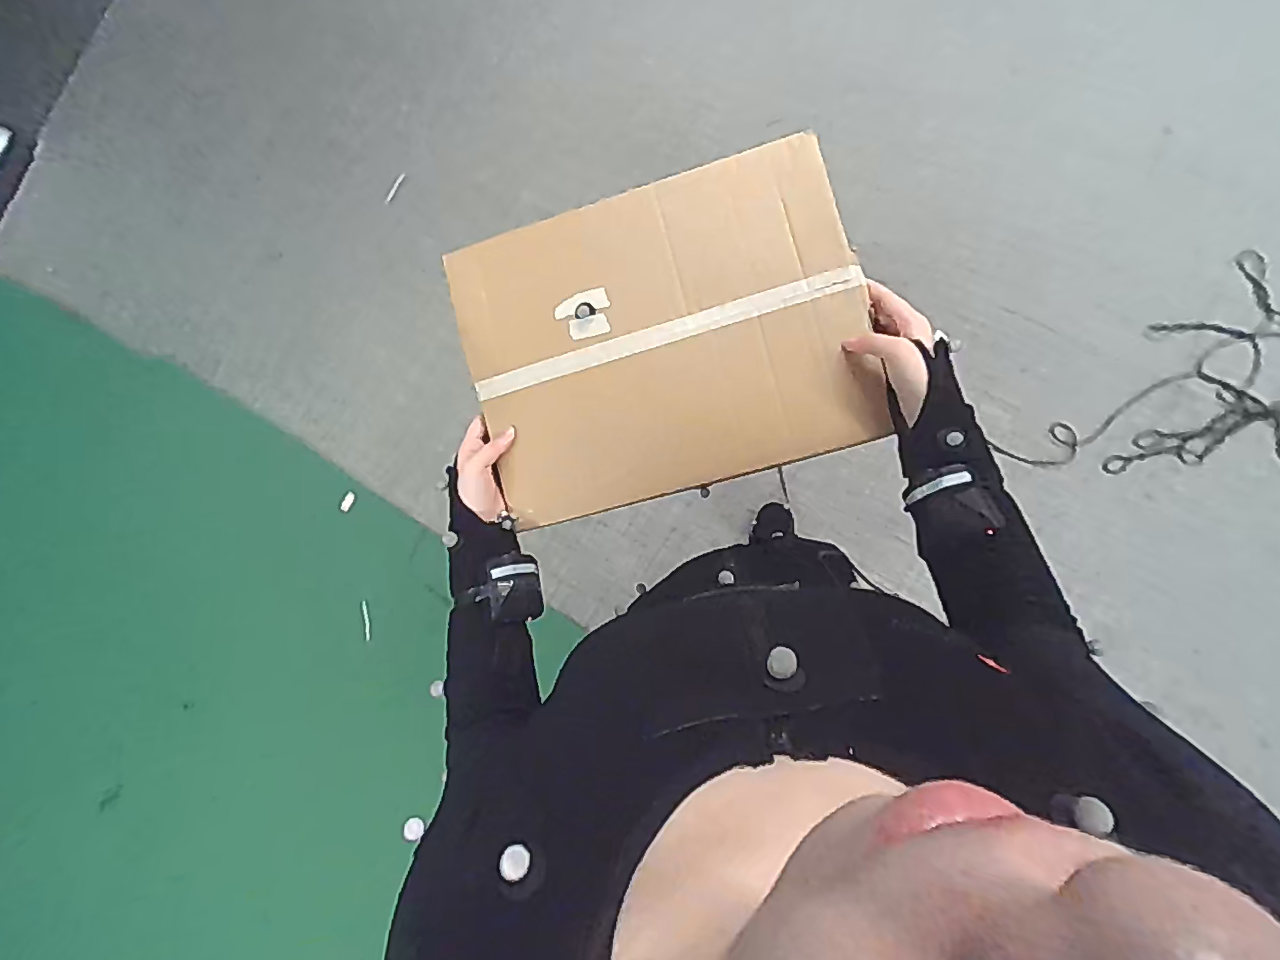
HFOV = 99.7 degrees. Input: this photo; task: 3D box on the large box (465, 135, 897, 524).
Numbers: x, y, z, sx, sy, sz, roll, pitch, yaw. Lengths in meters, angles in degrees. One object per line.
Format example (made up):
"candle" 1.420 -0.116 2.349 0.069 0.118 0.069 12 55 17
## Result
"large box" 0.054 -0.152 0.714 0.408 0.320 0.320 -15 87 10
